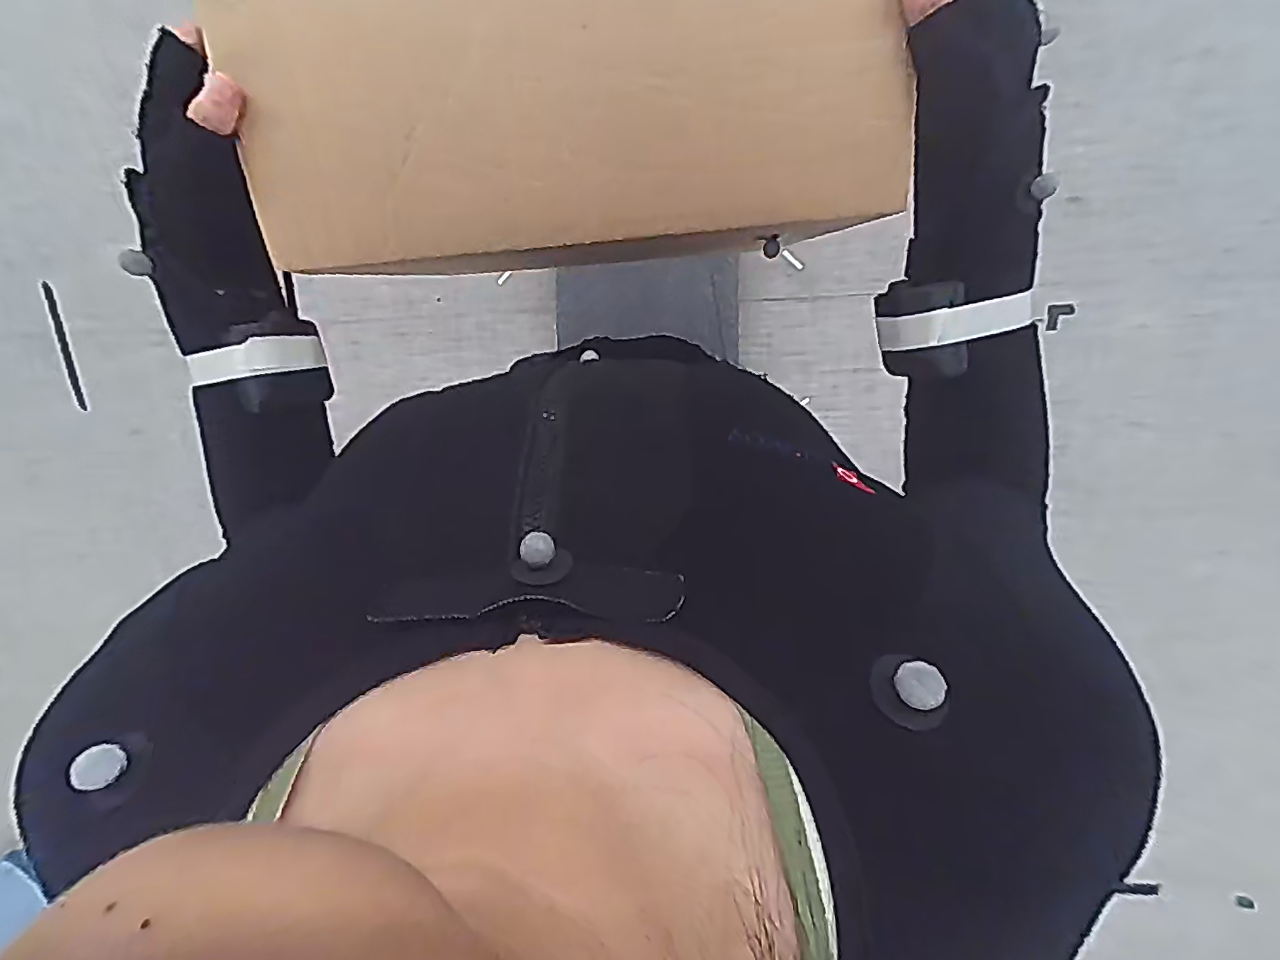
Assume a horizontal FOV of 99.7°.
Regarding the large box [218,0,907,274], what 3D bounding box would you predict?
[{"bbox_3d":[-0.044,-0.352,0.441,0.408,0.320,0.320,-4,110,2],"label":"large box"}]
